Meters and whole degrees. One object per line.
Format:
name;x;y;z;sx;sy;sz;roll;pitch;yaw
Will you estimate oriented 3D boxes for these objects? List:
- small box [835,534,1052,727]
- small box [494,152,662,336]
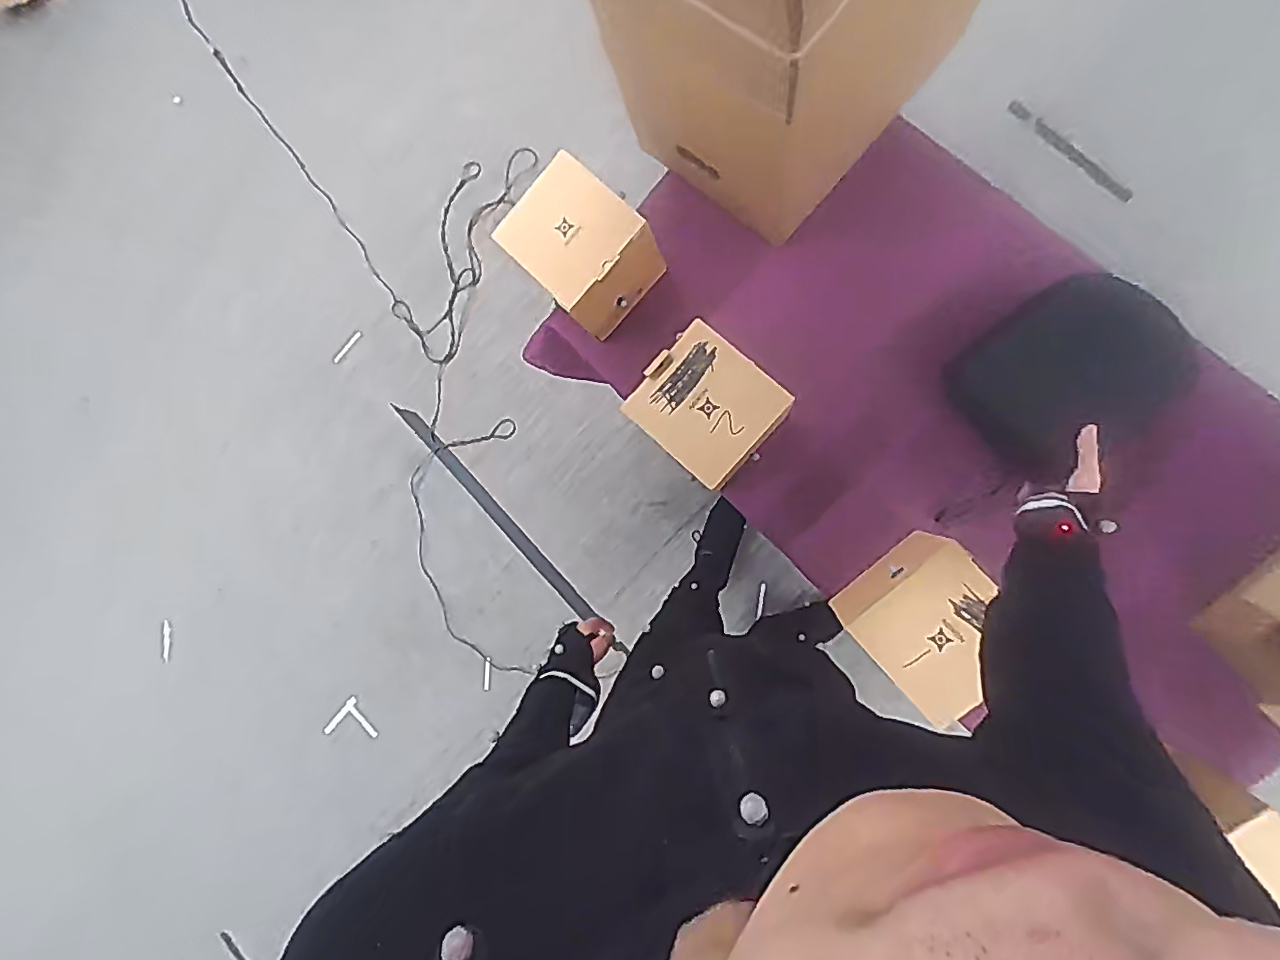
small box;0.394;0.190;0.744;0.179;0.176;0.168;-43;81;9
small box;-0.087;-0.356;0.854;0.179;0.176;0.168;44;97;8
